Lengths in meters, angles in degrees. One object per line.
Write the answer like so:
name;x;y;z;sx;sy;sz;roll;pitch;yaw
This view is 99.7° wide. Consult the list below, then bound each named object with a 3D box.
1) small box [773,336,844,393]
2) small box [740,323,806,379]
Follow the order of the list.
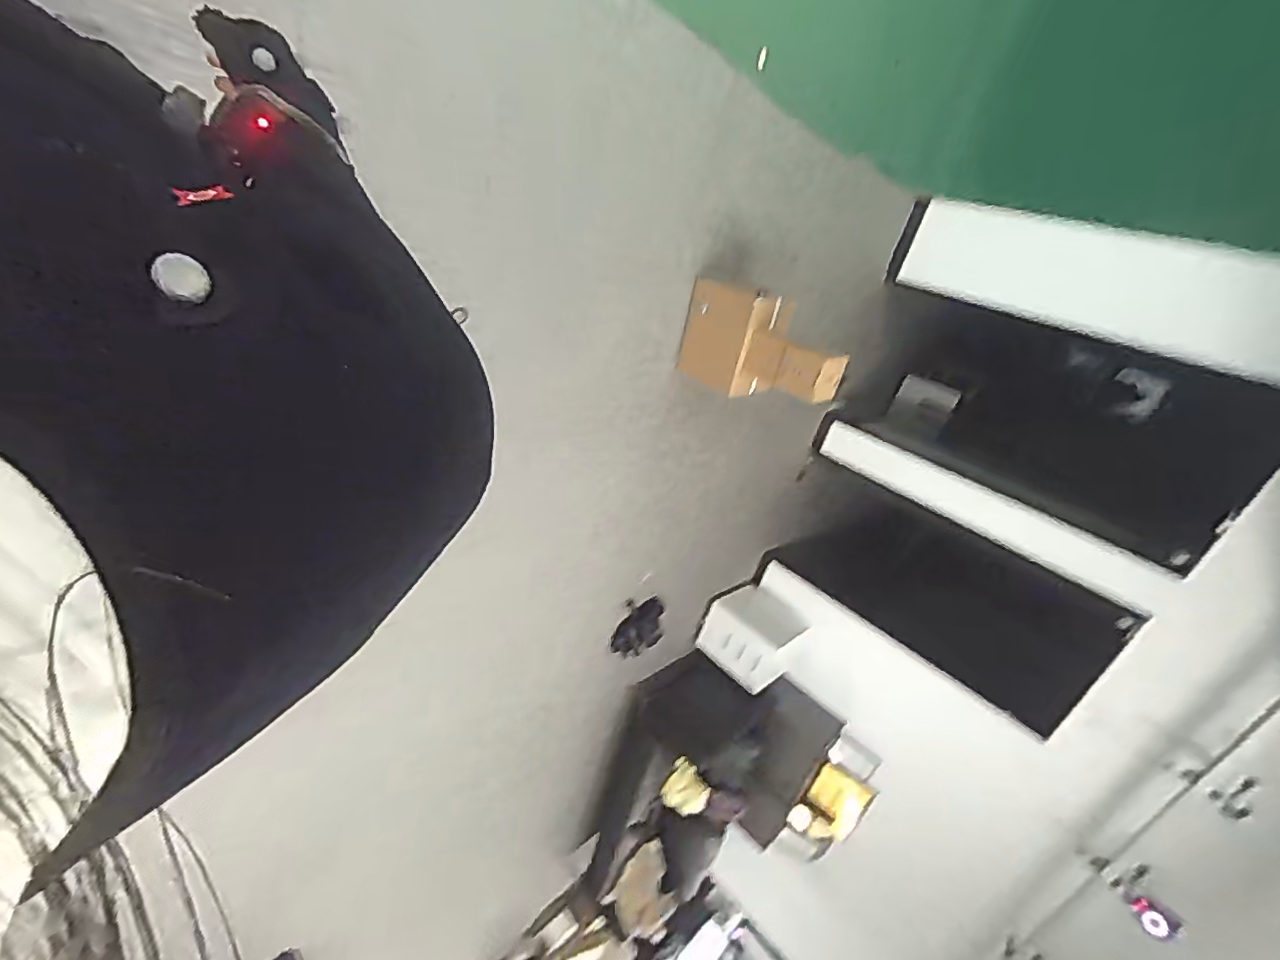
small box;0.630;-0.440;2.042;0.179;0.176;0.168;-16;129;-42
small box;0.519;-0.515;2.137;0.168;0.176;0.179;-16;130;-42
